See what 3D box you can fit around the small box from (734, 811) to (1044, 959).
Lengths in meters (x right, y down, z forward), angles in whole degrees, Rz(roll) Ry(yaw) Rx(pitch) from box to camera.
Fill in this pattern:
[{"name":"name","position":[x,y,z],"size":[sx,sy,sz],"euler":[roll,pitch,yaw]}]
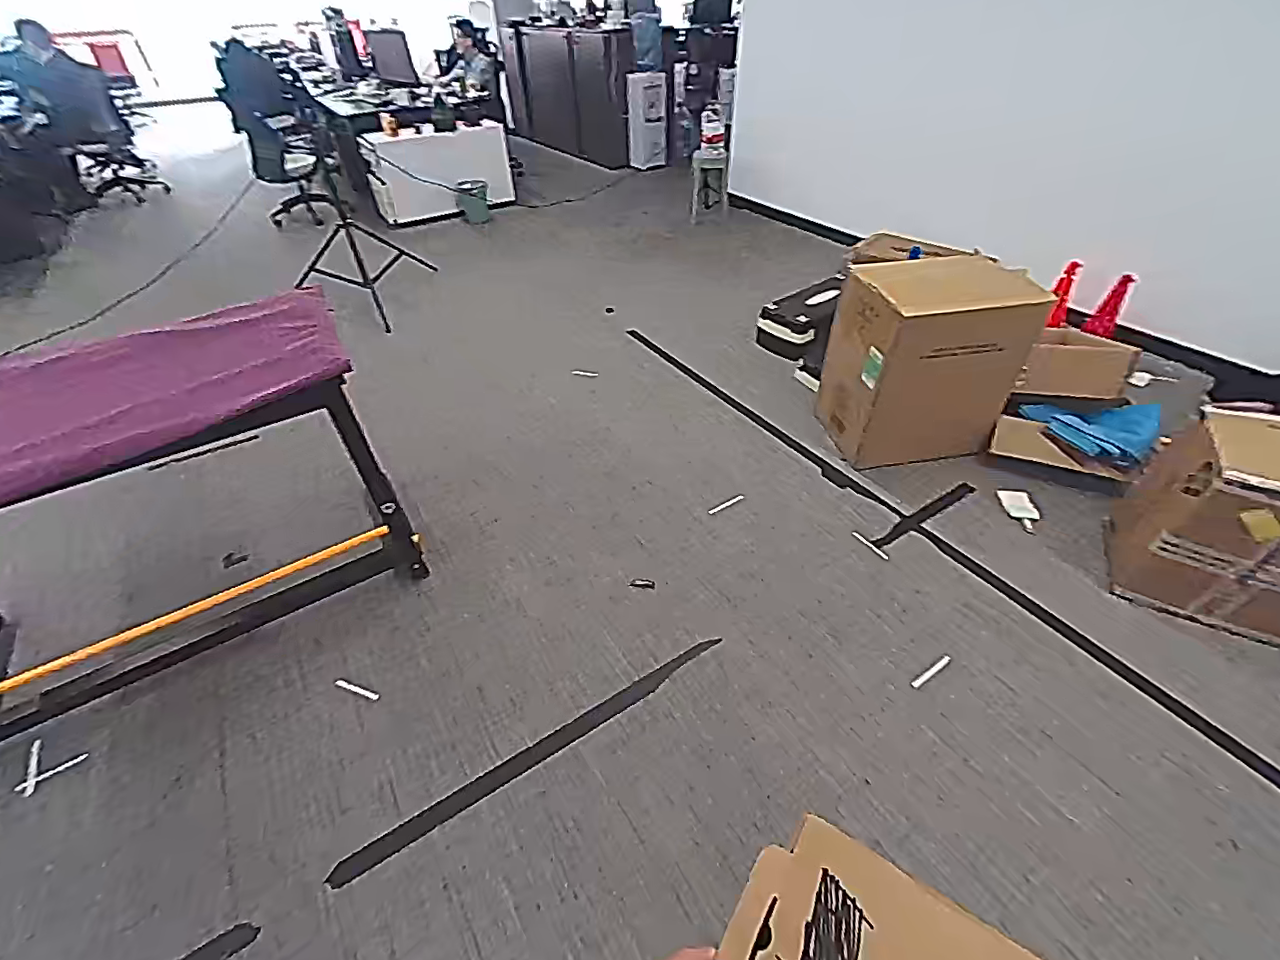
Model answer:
[{"name":"small box","position":[0.148,0.374,0.363],"size":[0.179,0.176,0.168],"euler":[23,50,24]}]
